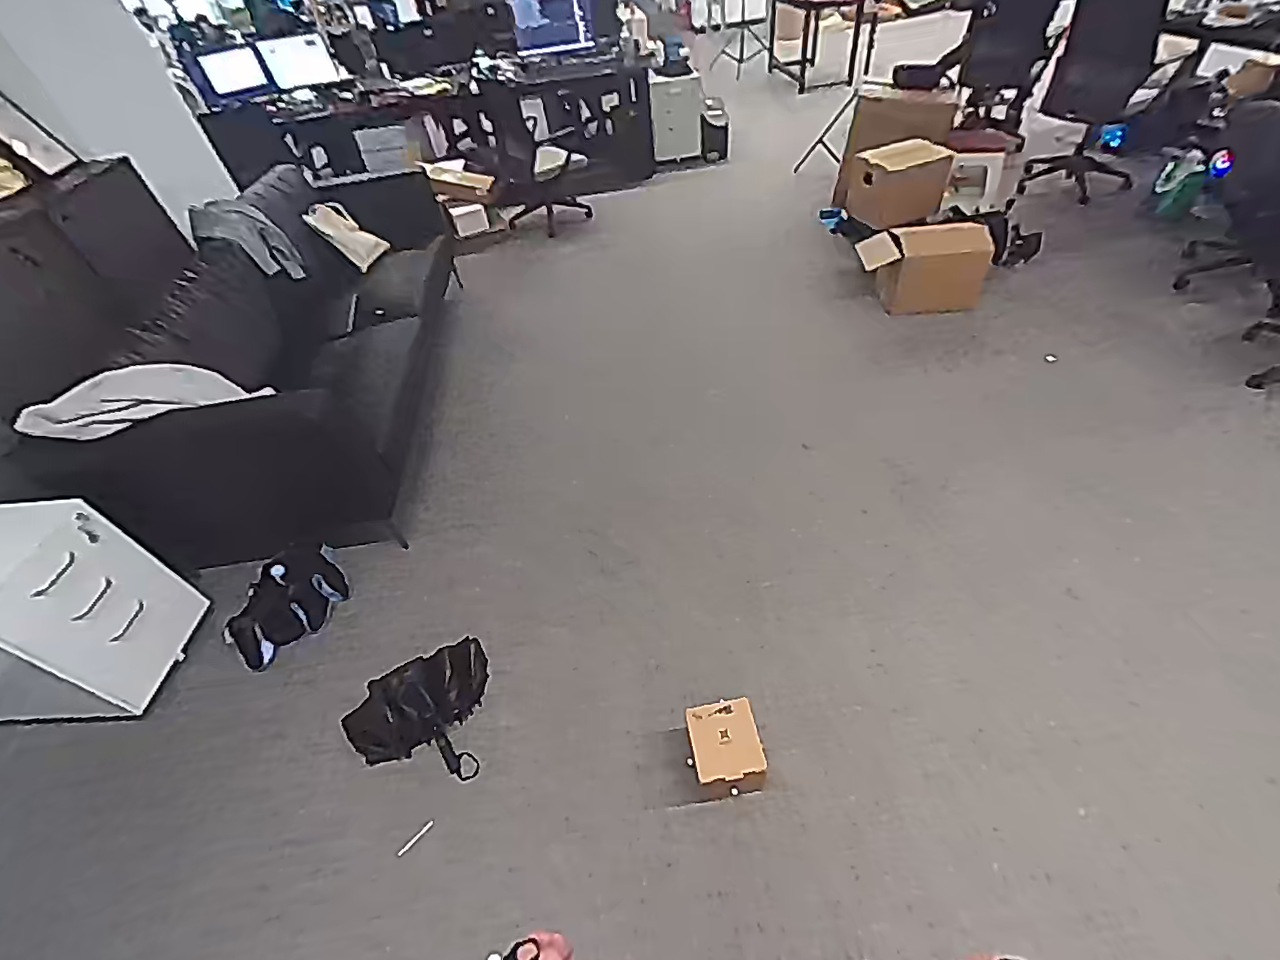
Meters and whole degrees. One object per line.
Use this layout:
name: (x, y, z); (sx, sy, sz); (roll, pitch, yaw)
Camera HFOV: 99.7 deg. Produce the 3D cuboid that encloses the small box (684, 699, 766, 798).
small box: (0.210, 0.680, 1.359); (0.168, 0.176, 0.179); (-9, 46, -2)
